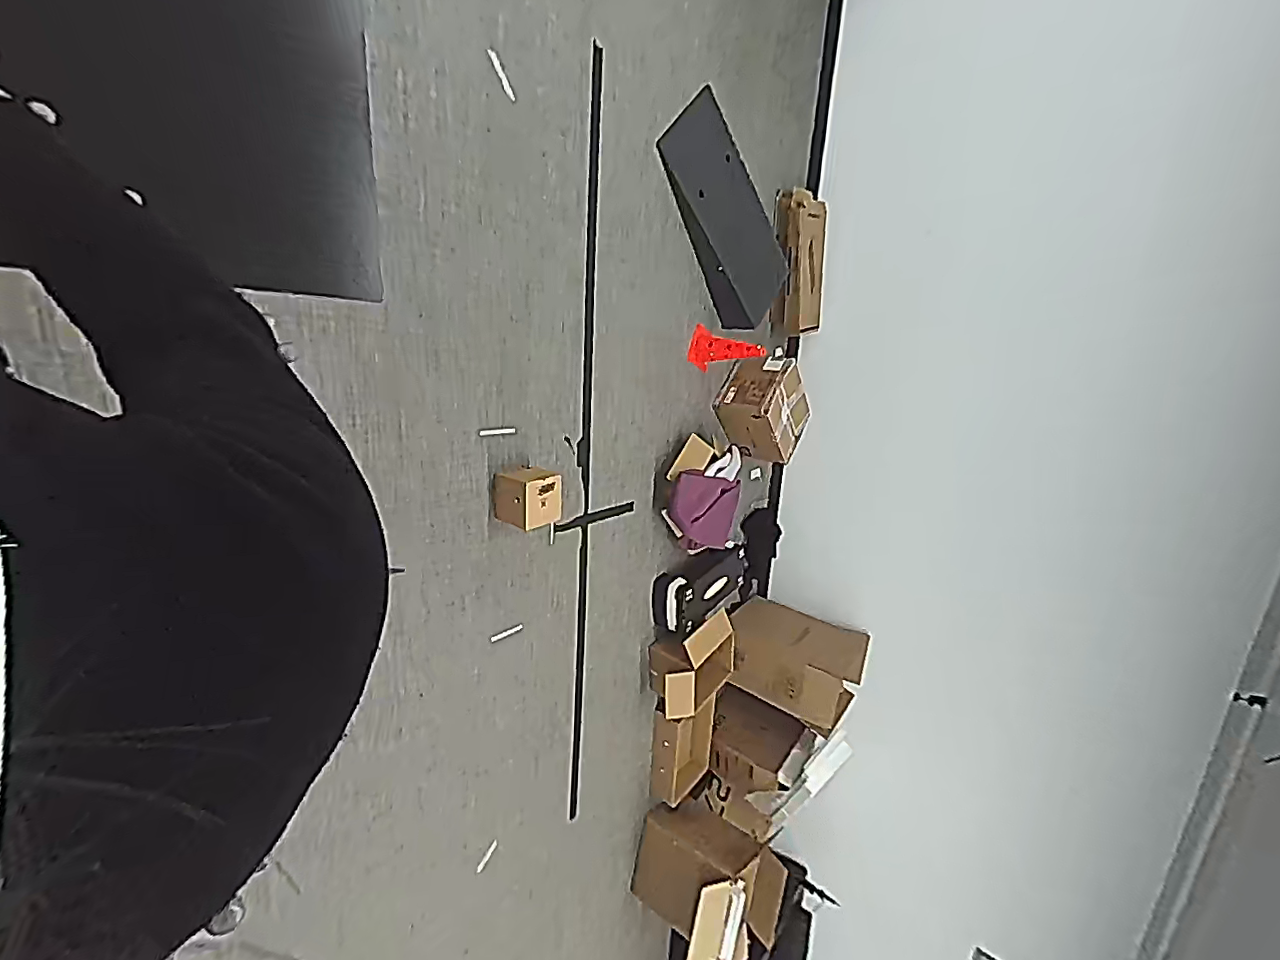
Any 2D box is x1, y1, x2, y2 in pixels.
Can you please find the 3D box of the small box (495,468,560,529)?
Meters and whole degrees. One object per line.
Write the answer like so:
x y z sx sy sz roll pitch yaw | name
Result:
-0.405 0.057 1.934 0.168 0.176 0.179 -16 114 -50 | small box
